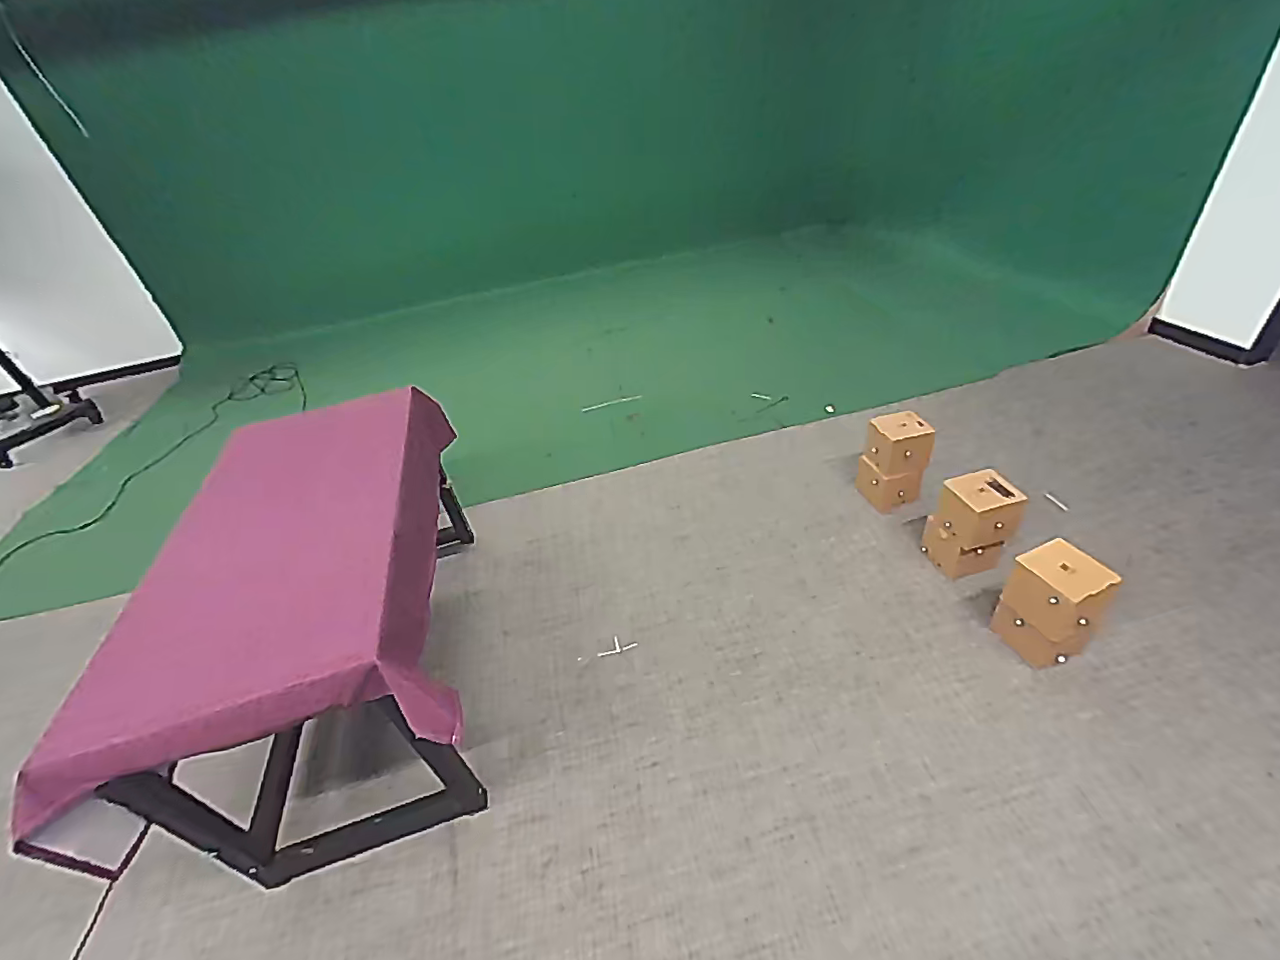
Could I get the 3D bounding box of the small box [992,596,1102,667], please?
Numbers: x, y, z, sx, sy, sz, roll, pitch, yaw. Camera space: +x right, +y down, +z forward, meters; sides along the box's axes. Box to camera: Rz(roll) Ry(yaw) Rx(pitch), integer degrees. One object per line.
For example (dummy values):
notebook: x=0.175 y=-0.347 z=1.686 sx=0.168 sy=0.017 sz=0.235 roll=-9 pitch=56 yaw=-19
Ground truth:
small box: x=1.179 y=0.412 z=1.585 sx=0.168 sy=0.176 sz=0.179 roll=-17 pitch=39 yaw=-7

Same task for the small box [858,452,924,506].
small box: x=1.000 y=-0.015 z=2.166 sx=0.168 sy=0.176 sz=0.179 roll=-15 pitch=38 yaw=-6

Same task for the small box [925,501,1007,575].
small box: x=1.111 y=0.204 z=1.863 sx=0.179 sy=0.176 sz=0.168 roll=-14 pitch=38 yaw=-6

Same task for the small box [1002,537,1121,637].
small box: x=1.140 y=0.292 z=1.482 sx=0.168 sy=0.176 sz=0.179 roll=-20 pitch=39 yaw=-11

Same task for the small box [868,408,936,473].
small box: x=0.993 y=-0.148 z=2.068 sx=0.179 sy=0.176 sz=0.168 roll=-13 pitch=38 yaw=-2
